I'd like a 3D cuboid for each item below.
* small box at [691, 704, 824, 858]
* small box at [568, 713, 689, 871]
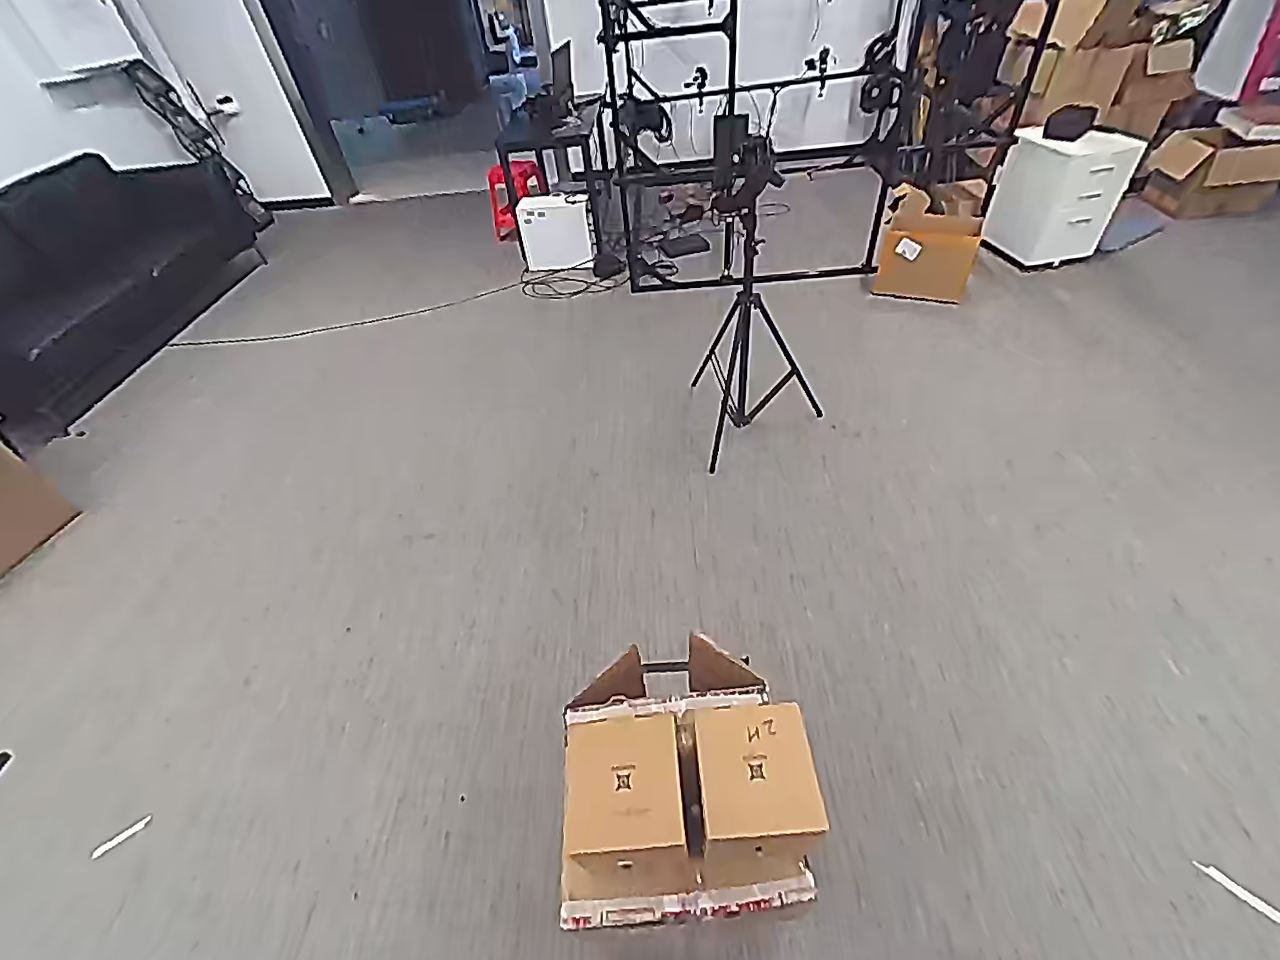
[{"bbox_3d":[0.171,0.473,0.843,0.168,0.176,0.179,-5,46,0],"label":"small box"},{"bbox_3d":[-0.016,0.491,0.849,0.168,0.176,0.179,-7,48,2],"label":"small box"}]
